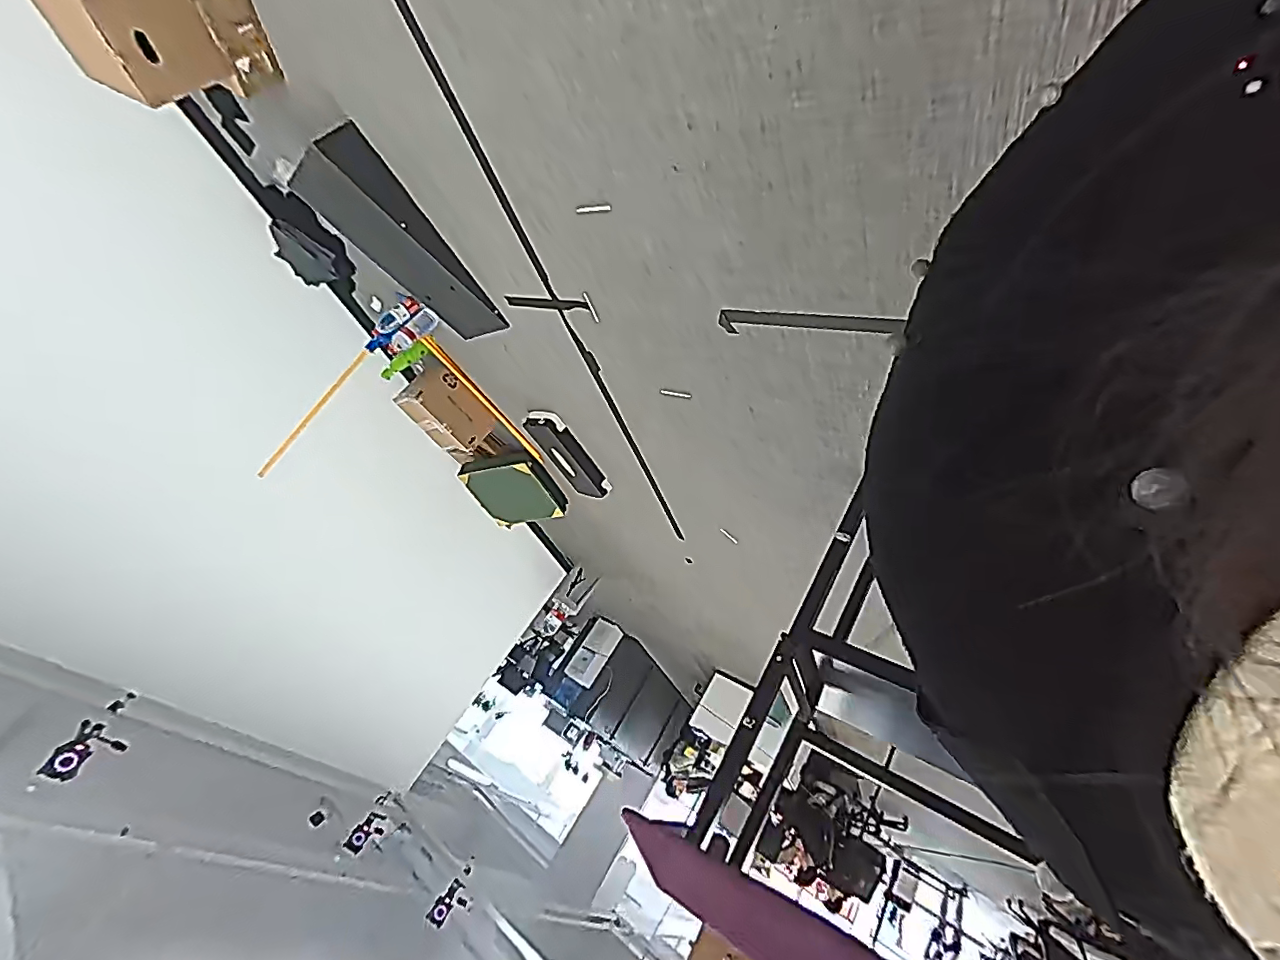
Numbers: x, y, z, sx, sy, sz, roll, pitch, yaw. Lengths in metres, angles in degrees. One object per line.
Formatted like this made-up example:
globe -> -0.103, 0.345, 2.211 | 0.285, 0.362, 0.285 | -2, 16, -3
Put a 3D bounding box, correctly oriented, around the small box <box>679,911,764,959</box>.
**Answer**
small box -> 0.195, 1.224, 1.351 | 0.179, 0.176, 0.168 | 23, 153, 27
